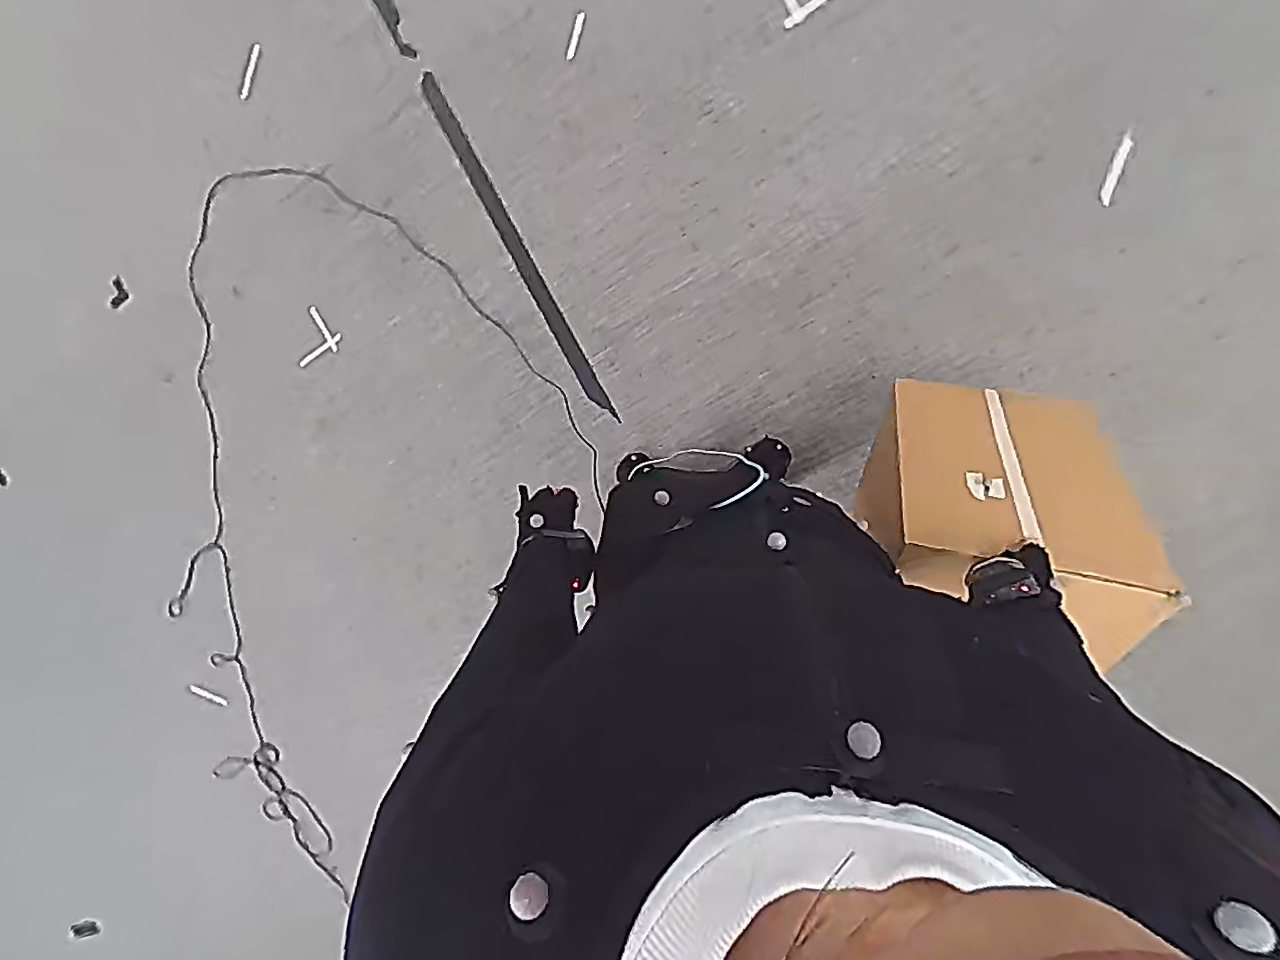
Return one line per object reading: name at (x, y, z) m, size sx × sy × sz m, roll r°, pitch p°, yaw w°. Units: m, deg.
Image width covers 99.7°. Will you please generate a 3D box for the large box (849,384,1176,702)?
large box at (0.550, 0.089, 0.915) m, size 0.320 × 0.408 × 0.320 m, roll 9°, pitch 135°, yaw 14°
